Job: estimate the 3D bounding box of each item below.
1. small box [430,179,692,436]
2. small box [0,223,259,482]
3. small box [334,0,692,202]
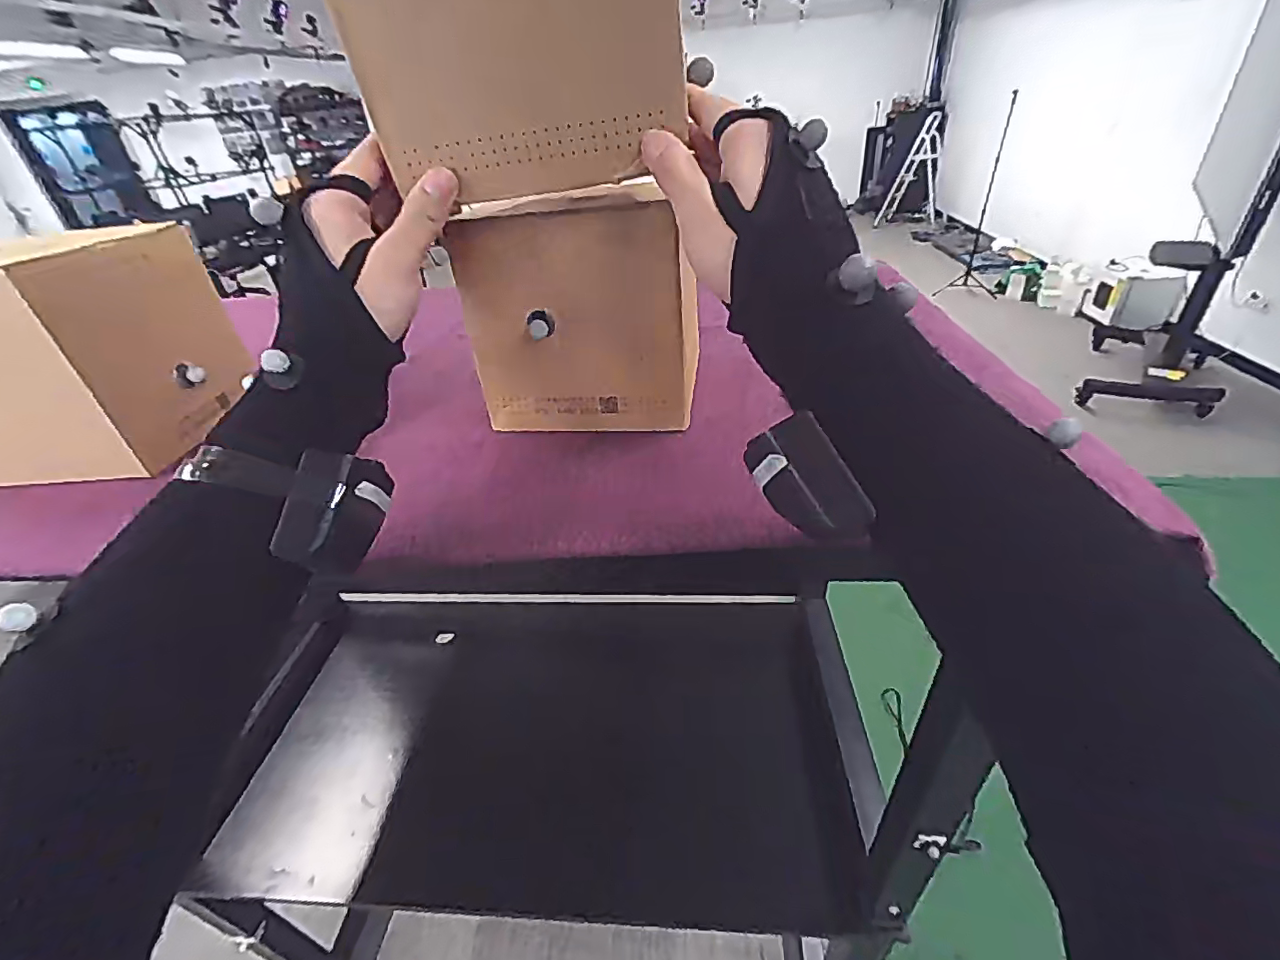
[{"bbox_3d":[-0.044,-0.148,0.466,0.168,0.176,0.179,2,35,10],"label":"small box"},{"bbox_3d":[-0.487,-0.109,0.462,0.179,0.176,0.168,-3,34,3],"label":"small box"},{"bbox_3d":[-0.065,-0.279,0.317,0.179,0.176,0.168,-4,43,7],"label":"small box"}]
